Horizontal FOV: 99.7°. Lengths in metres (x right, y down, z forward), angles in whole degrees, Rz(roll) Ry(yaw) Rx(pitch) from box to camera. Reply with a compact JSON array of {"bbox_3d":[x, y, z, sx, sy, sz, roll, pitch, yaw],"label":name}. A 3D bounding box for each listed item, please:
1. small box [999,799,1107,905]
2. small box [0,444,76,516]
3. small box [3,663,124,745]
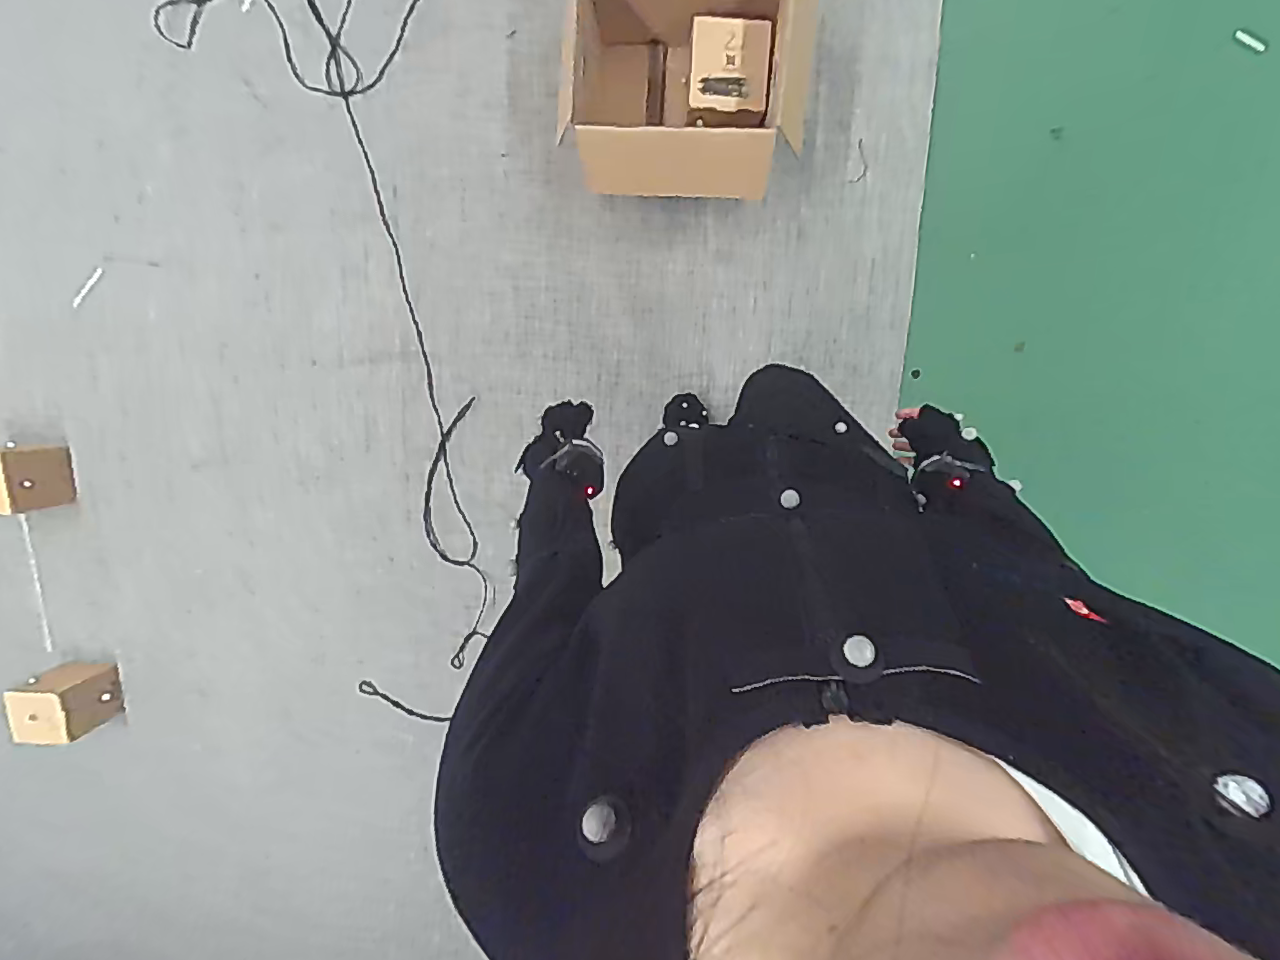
[{"bbox_3d":[1.157,1.047,1.530,0.168,0.176,0.179,4,100,2],"label":"small box"},{"bbox_3d":[-1.738,-0.006,1.499,0.168,0.176,0.179,1,101,2],"label":"small box"},{"bbox_3d":[-1.726,0.667,1.627,0.179,0.176,0.168,1,101,3],"label":"small box"}]
